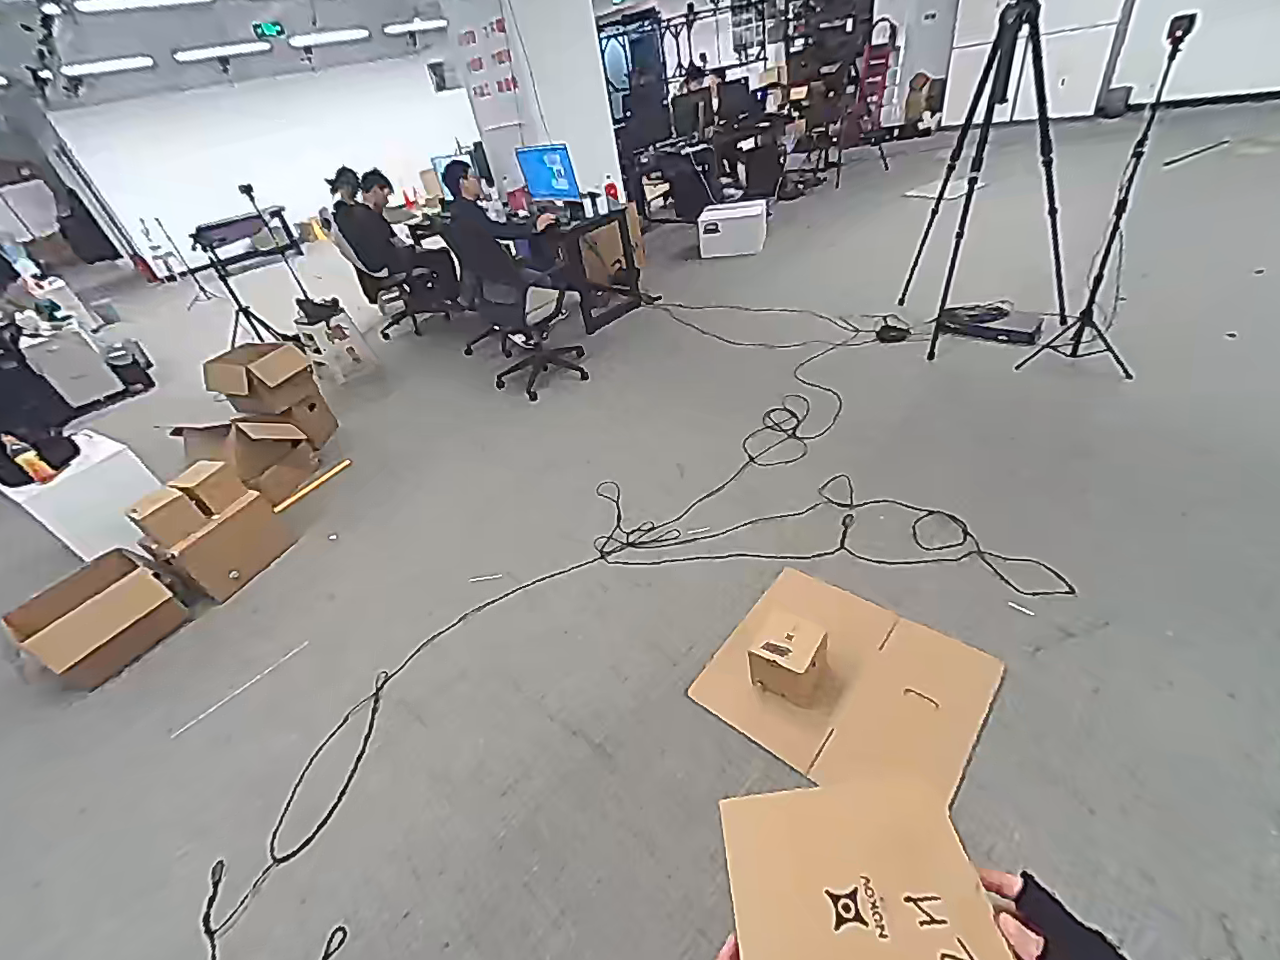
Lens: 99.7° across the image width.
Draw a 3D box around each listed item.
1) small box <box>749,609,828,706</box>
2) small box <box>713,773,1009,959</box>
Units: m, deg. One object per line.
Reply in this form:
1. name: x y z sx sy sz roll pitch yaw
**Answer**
1. small box: 0.436 0.517 1.569 0.168 0.176 0.179 17 45 35
2. small box: 0.162 0.360 0.420 0.179 0.176 0.168 -10 35 6
